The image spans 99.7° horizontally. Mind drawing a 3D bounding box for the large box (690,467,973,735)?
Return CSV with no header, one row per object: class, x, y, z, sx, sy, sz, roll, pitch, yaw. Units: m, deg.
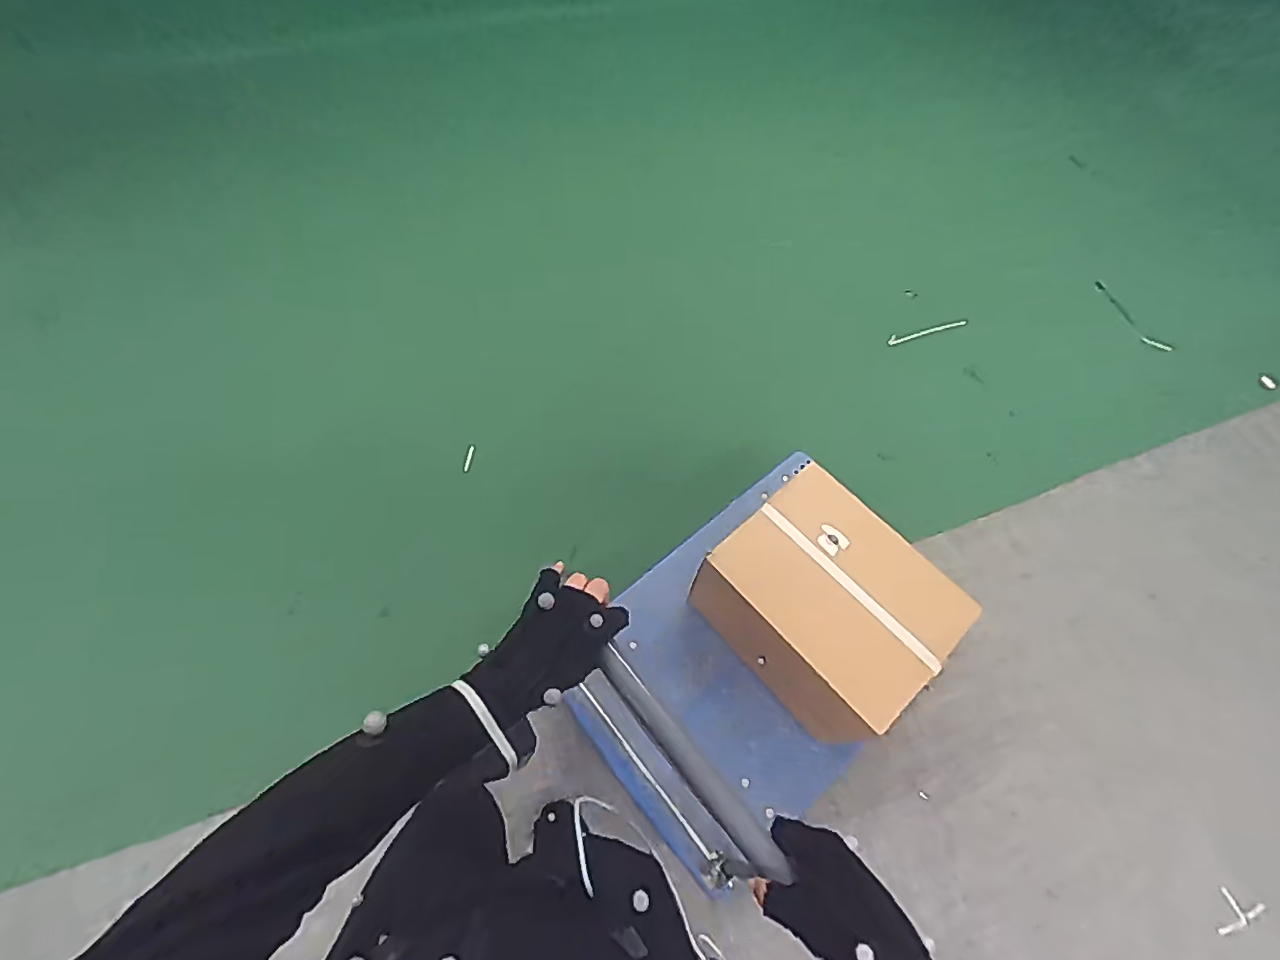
large box,0.360,0.258,1.125,0.320,0.320,0.408,-38,69,-20
